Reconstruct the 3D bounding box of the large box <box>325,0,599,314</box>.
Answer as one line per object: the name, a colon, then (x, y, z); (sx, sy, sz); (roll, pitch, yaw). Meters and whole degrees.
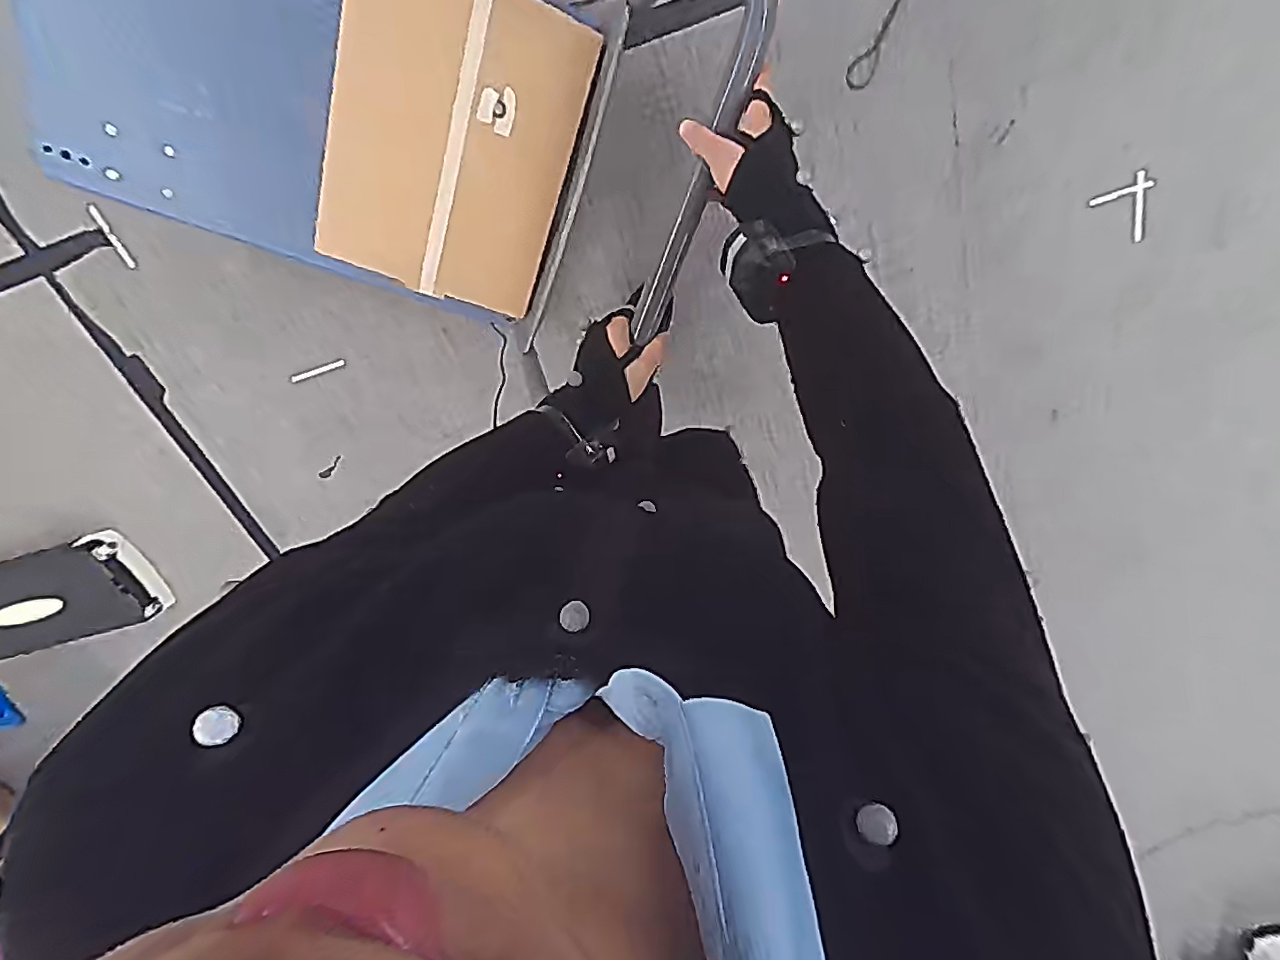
large box: (-0.289, -0.542, 0.898); (0.320, 0.320, 0.408); (13, 115, -20)
